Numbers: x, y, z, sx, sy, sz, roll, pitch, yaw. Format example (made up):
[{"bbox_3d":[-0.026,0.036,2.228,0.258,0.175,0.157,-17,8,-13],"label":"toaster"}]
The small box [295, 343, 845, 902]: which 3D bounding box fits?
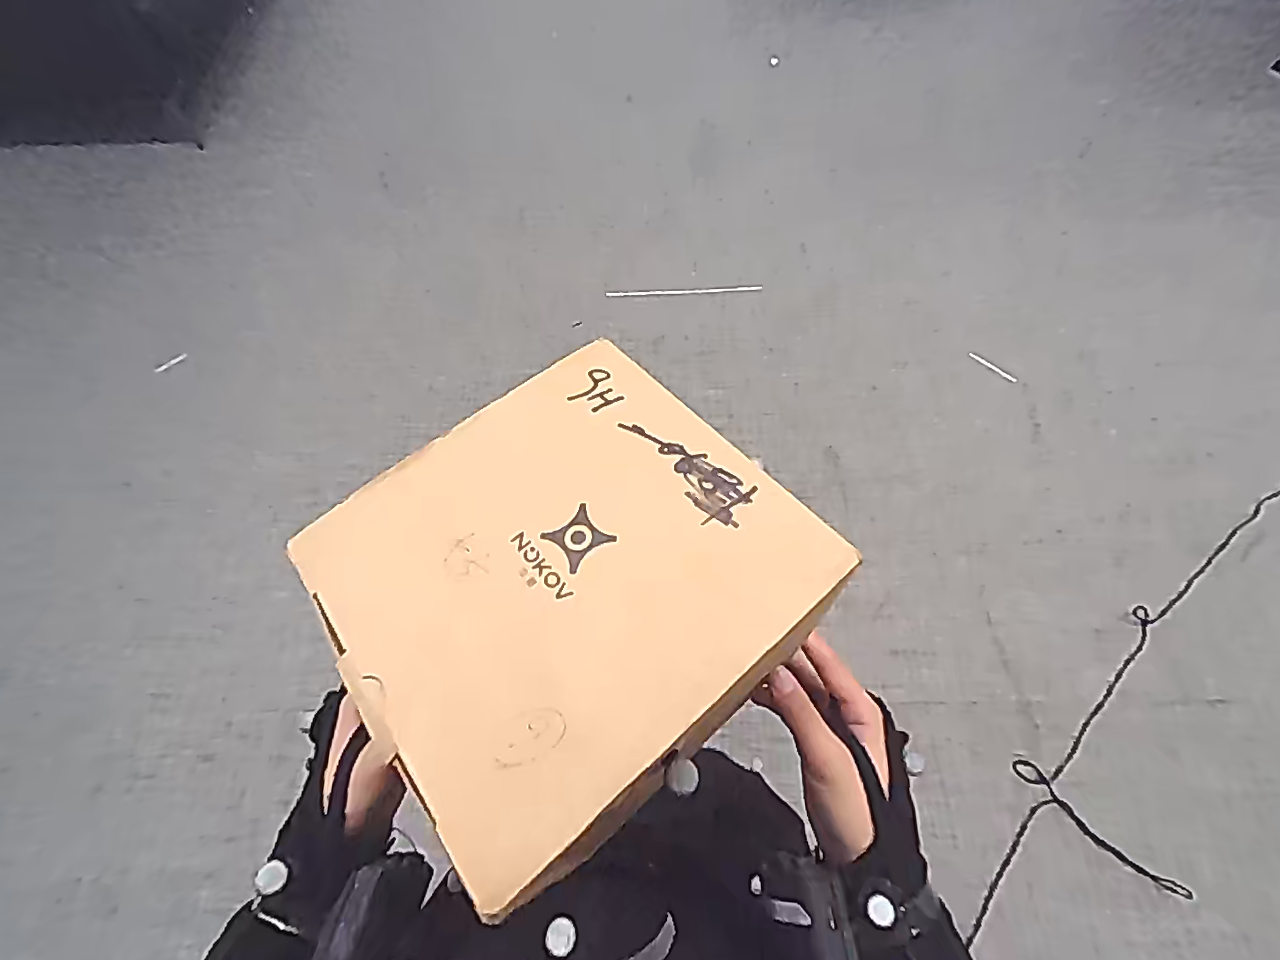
[{"bbox_3d":[-0.027,0.071,0.288,0.179,0.176,0.168,-37,63,-16],"label":"small box"}]
